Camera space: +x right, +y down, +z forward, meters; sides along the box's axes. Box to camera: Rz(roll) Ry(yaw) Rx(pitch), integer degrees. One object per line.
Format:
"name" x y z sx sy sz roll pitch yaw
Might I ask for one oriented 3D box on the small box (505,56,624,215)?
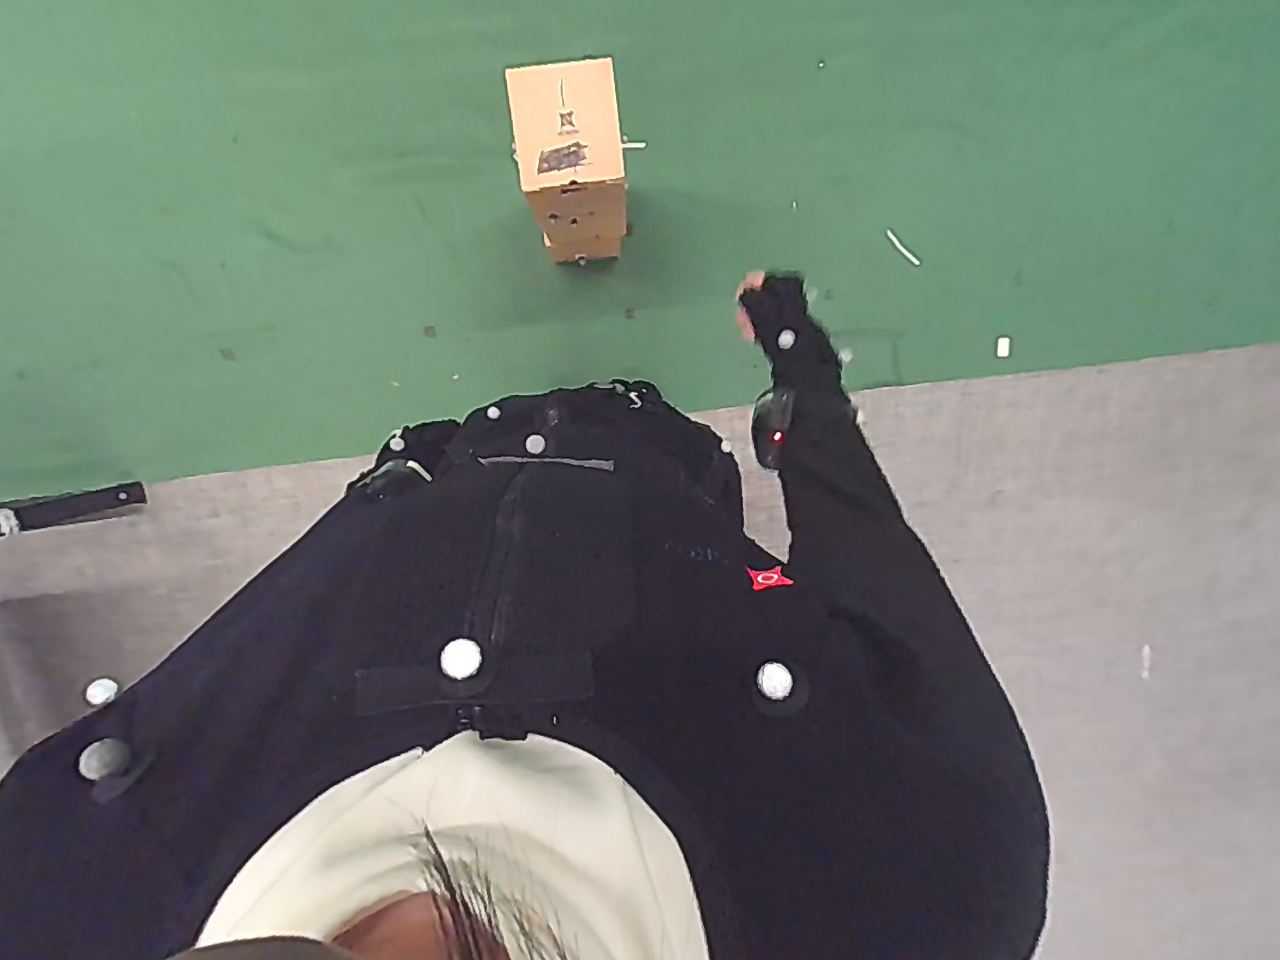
"small box" -0.117 -0.562 0.909 0.168 0.176 0.179 -7 100 -1

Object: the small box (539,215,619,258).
"small box" -0.135 -0.612 1.214 0.168 0.176 0.179 -4 101 0

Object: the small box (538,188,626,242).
"small box" -0.120 -0.593 1.071 0.168 0.176 0.179 -7 100 0
